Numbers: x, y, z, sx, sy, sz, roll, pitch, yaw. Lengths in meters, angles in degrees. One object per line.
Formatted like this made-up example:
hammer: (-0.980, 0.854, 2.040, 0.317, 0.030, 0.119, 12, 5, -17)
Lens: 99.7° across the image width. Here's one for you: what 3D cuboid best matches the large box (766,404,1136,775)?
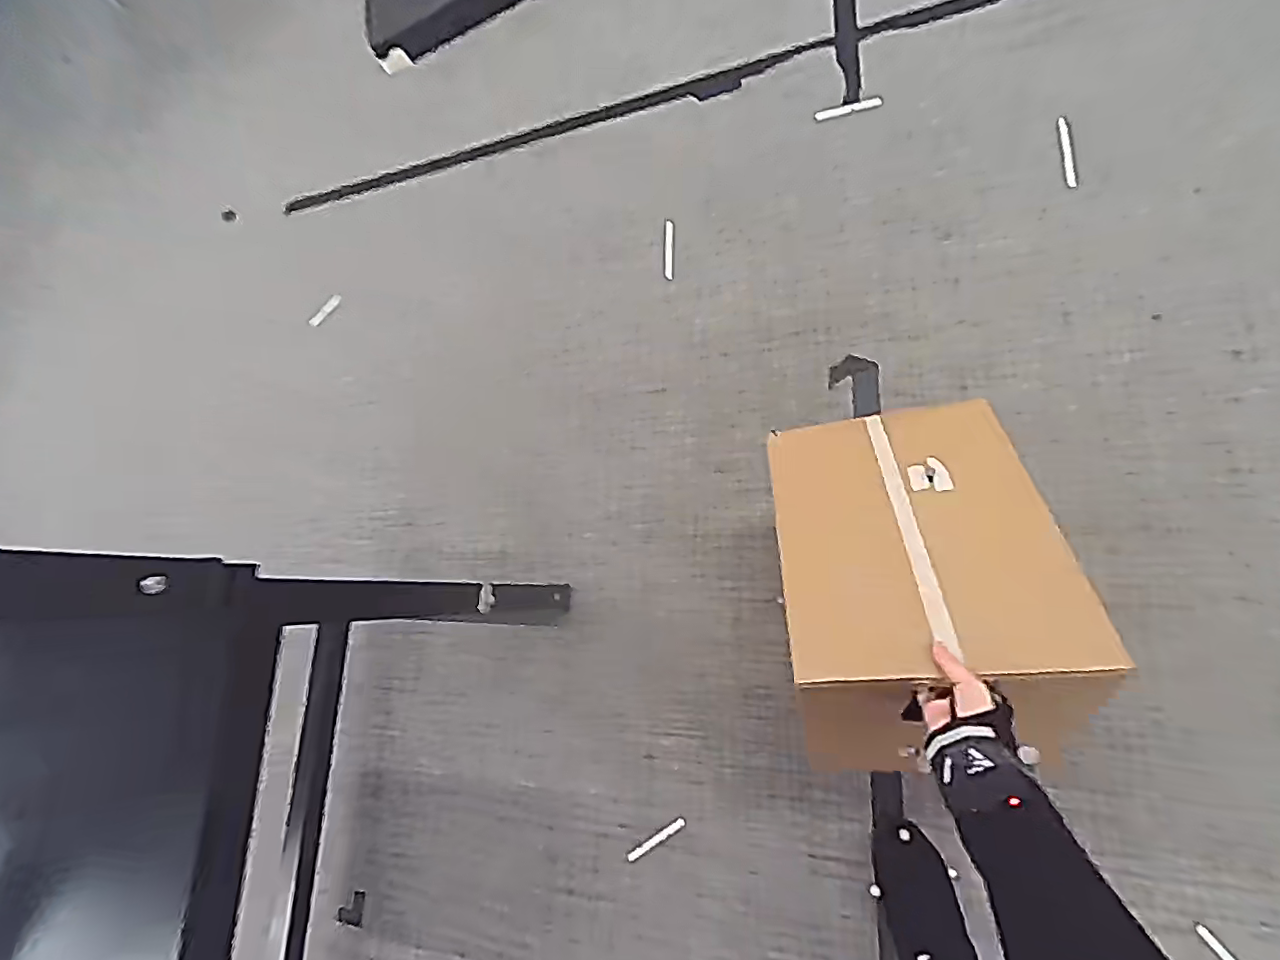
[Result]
large box: (0.372, 0.156, 0.772, 0.320, 0.320, 0.408, -8, 43, 14)
